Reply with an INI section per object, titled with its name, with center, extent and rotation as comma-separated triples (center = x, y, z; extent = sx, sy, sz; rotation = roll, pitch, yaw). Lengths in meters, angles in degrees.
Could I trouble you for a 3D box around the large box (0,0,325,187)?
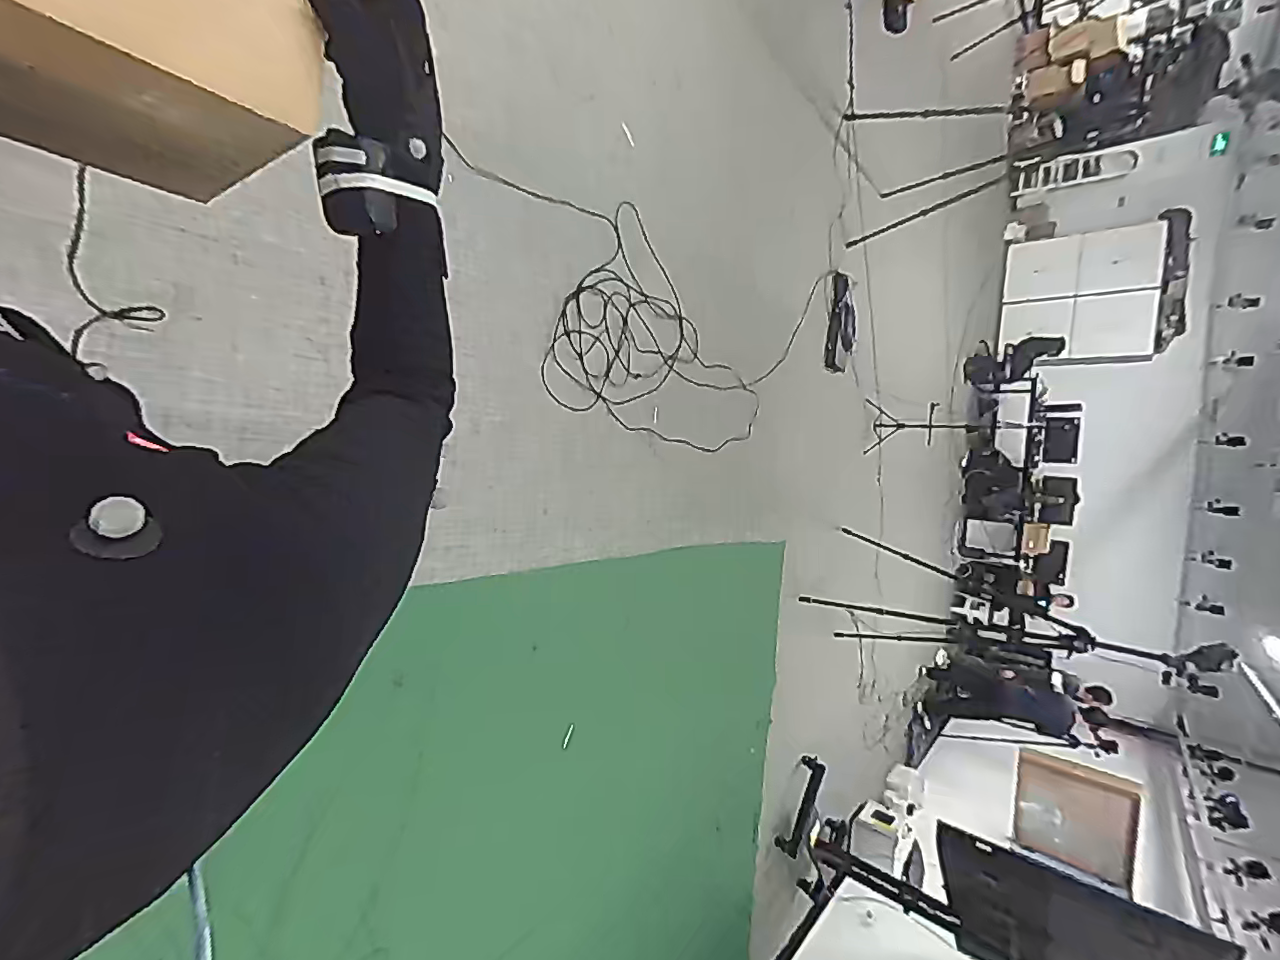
[large box]
center = -0.448, -0.428, 0.309
extent = 0.408, 0.320, 0.320
rotation = 1, 100, -50
